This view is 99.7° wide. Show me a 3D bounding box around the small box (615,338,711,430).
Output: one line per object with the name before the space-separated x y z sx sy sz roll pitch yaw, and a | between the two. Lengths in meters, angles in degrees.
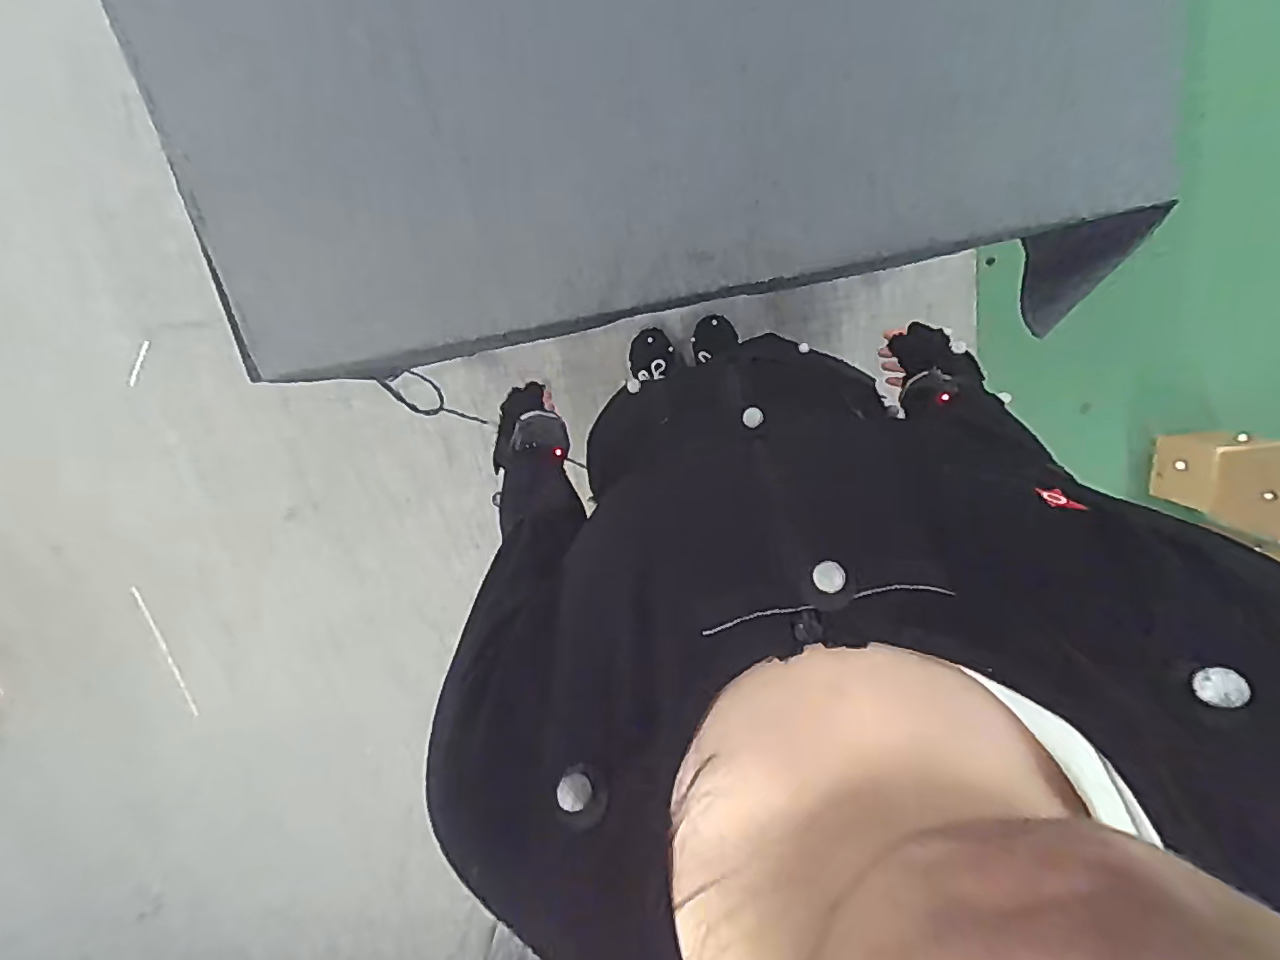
small box | 0.054 -0.248 1.378 0.179 0.176 0.168 31 116 11

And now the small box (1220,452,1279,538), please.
small box | 1.483 0.032 1.220 0.168 0.176 0.179 -6 104 3

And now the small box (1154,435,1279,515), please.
small box | 1.476 -0.017 1.378 0.179 0.176 0.168 -5 105 3
